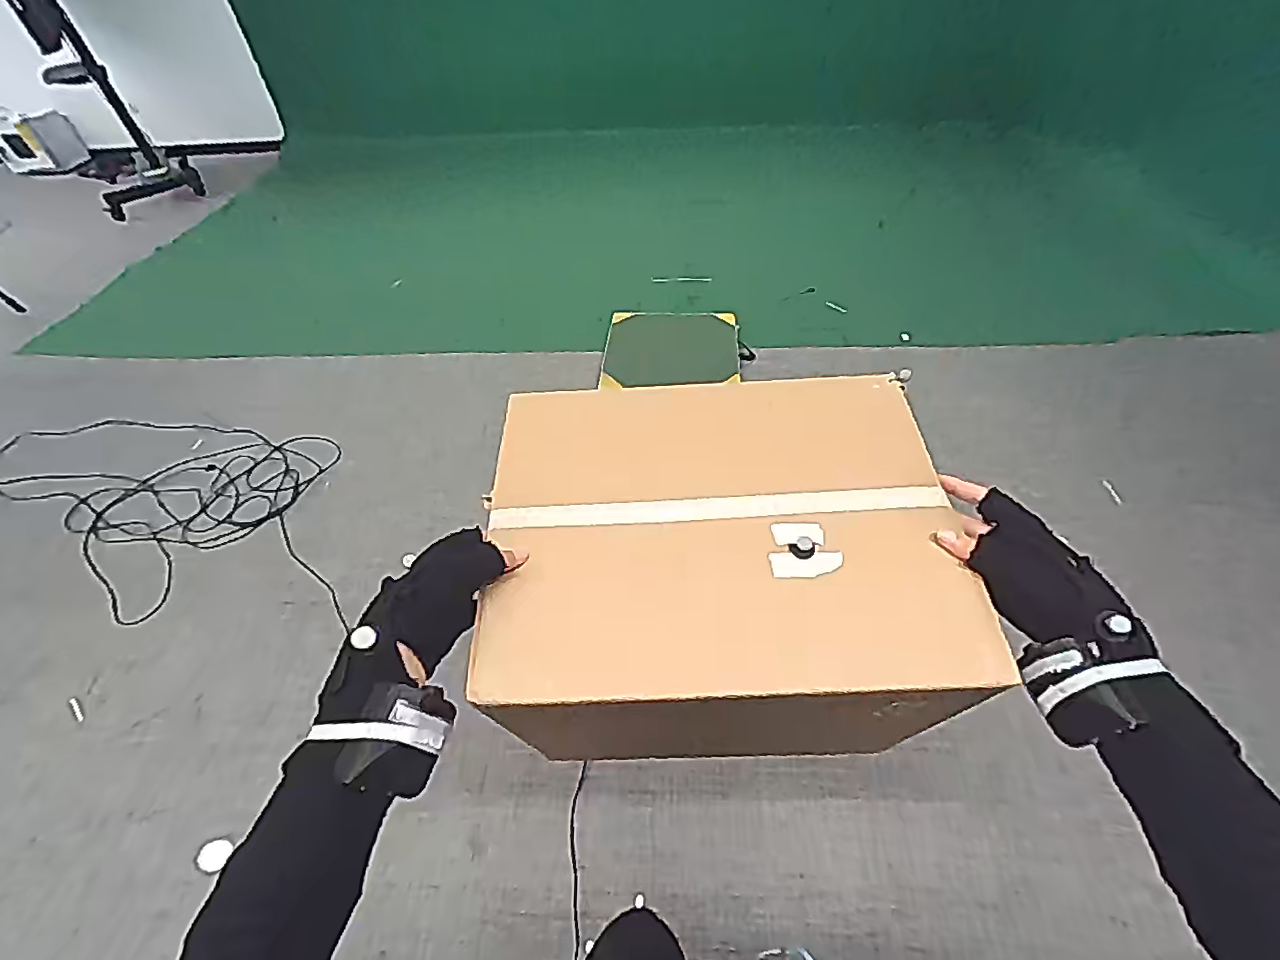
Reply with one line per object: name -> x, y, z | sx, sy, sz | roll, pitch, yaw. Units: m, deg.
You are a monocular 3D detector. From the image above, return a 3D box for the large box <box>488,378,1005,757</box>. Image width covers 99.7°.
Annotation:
large box -> 0.078, 0.112, 0.614 | 0.408, 0.320, 0.320 | -3, 56, 1
